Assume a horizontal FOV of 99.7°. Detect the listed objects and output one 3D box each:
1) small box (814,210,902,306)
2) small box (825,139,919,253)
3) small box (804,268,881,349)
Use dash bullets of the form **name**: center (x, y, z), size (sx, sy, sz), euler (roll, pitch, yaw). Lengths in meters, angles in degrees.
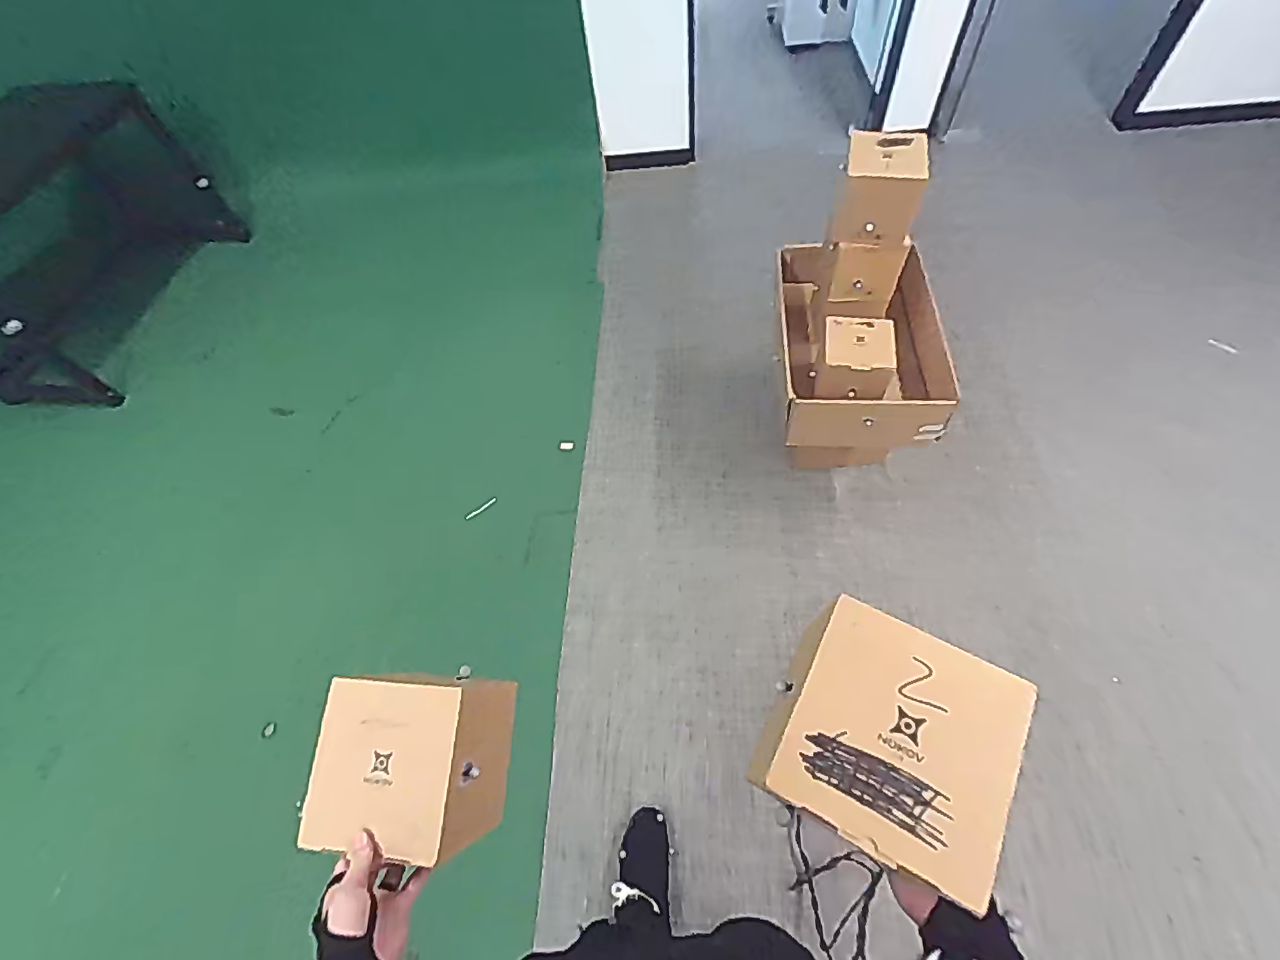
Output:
- **small box**: center (0.559, -0.580, 1.414), size (0.168, 0.176, 0.179), euler (1, 60, 5)
- **small box**: center (0.542, -0.668, 1.276), size (0.168, 0.176, 0.179), euler (9, 62, 11)
- **small box**: center (0.573, -0.500, 1.554), size (0.168, 0.176, 0.179), euler (1, 60, 7)
